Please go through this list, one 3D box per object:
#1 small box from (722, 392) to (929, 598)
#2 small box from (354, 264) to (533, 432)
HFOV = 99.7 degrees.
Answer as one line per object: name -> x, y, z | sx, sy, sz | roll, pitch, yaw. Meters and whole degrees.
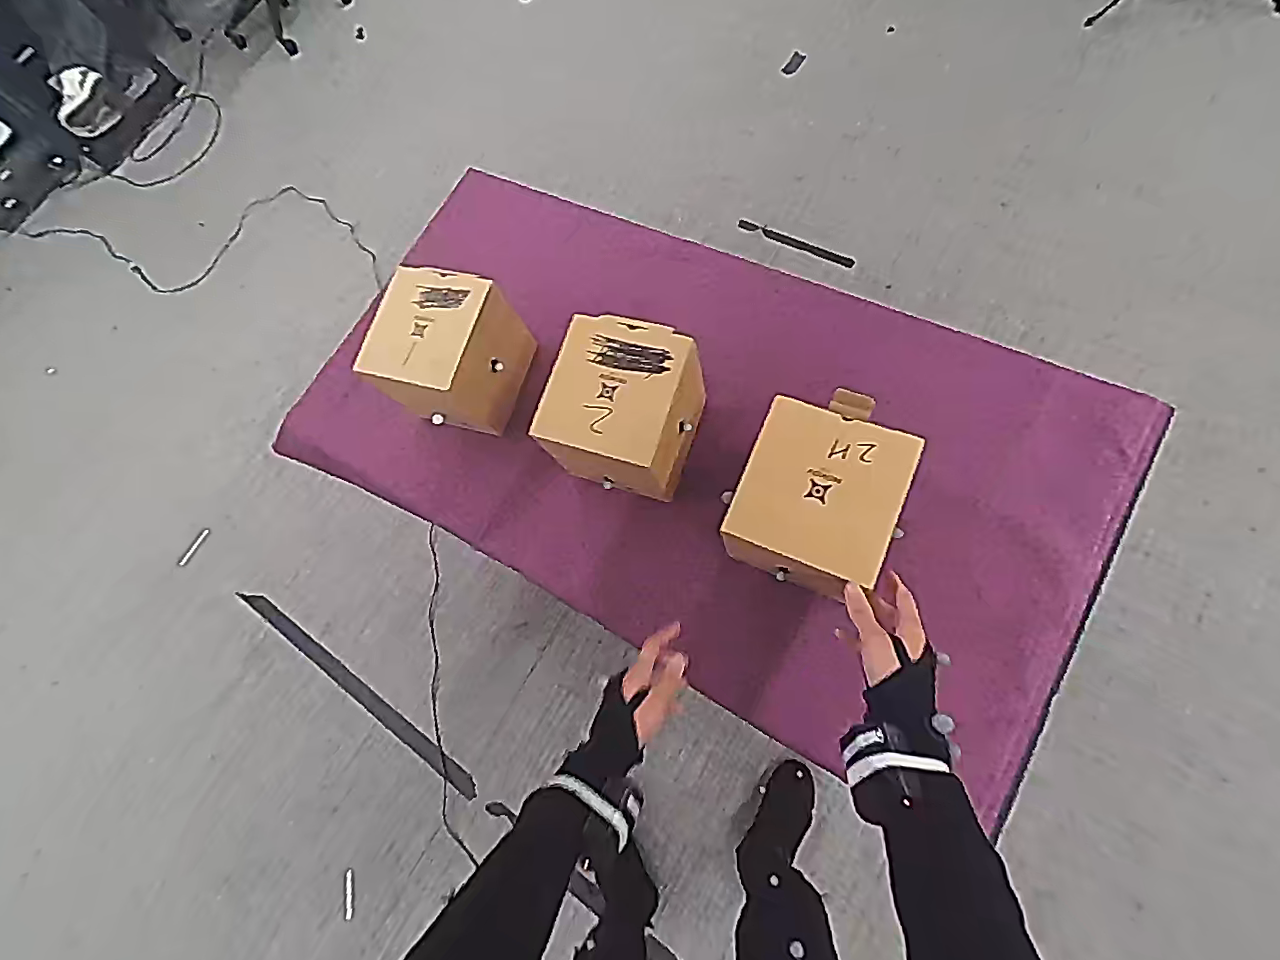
small box -> 0.212, 0.028, 0.647 | 0.168, 0.176, 0.179 | 22, 78, 17
small box -> -0.284, -0.195, 0.828 | 0.168, 0.176, 0.179 | 14, 77, 16
